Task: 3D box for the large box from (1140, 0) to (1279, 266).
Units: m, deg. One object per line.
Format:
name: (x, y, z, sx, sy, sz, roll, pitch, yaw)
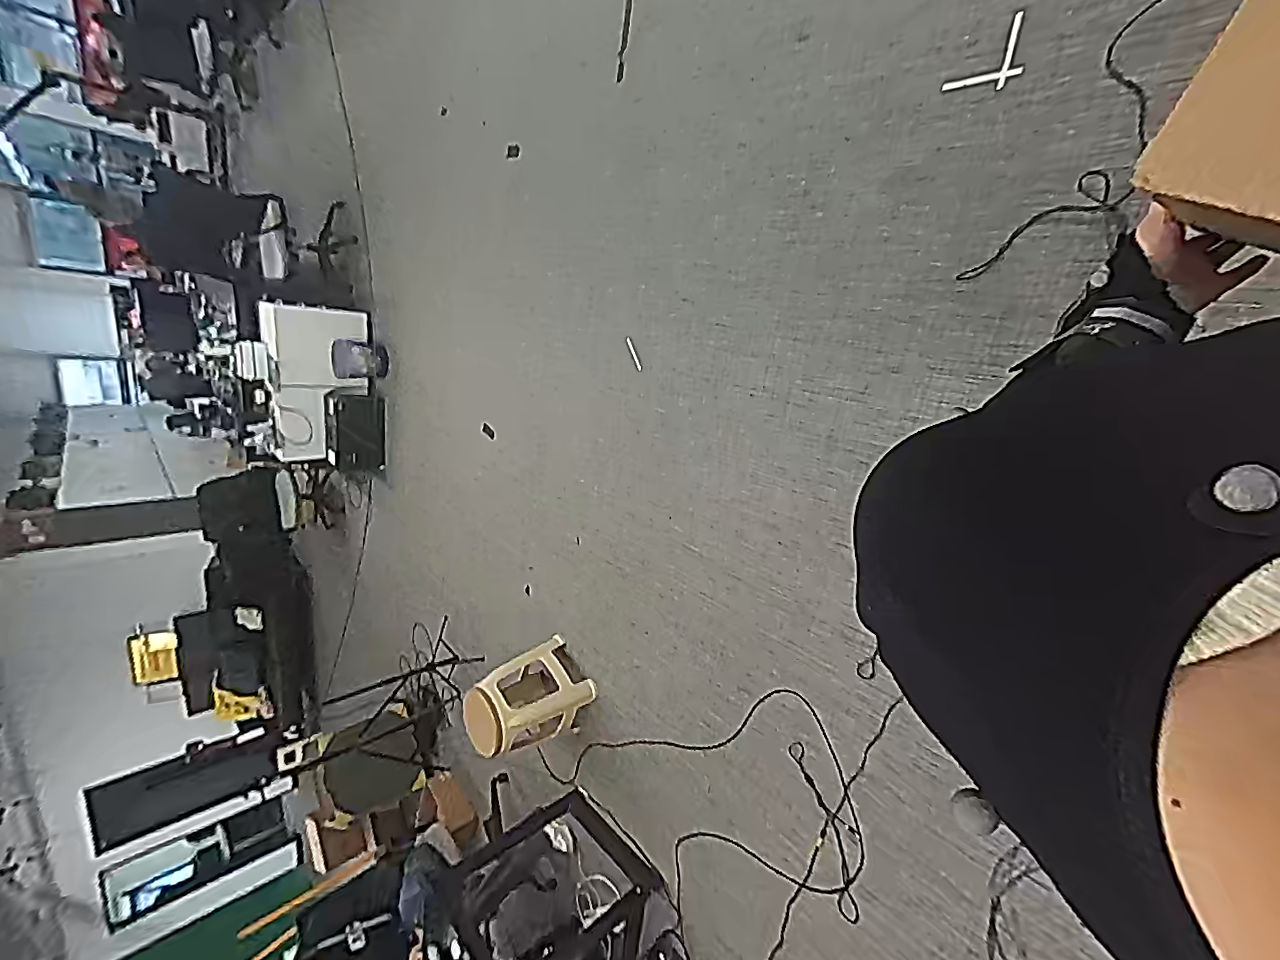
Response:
large box: (0.542, -0.209, 0.206, 0.408, 0.320, 0.320, 40, 131, 34)
